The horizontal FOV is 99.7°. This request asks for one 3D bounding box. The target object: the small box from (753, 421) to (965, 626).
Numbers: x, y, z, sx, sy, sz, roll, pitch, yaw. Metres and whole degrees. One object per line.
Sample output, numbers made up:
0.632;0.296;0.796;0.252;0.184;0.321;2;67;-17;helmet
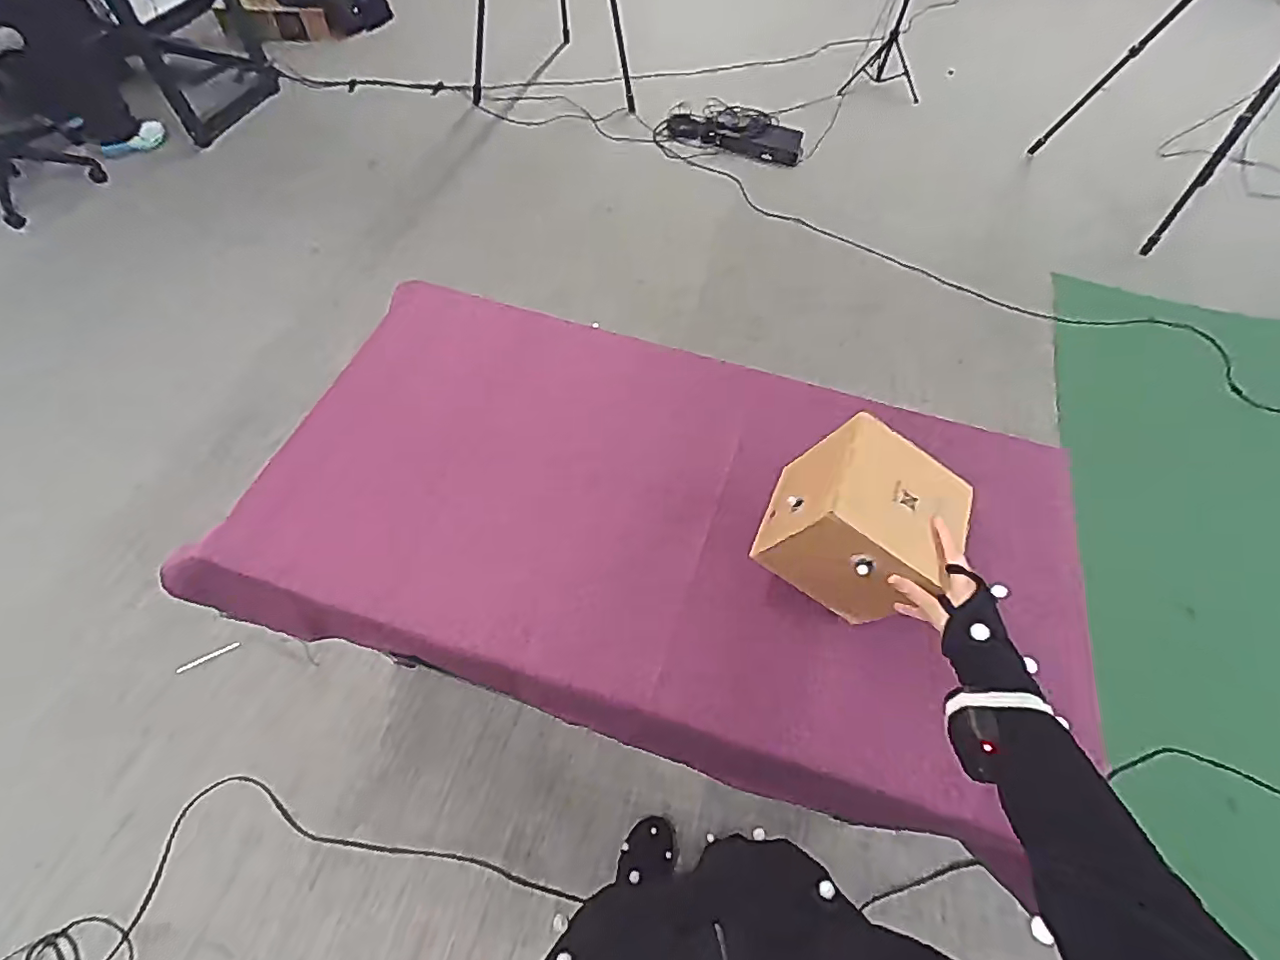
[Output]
0.274;0.065;0.696;0.179;0.176;0.168;33;56;-3;small box
